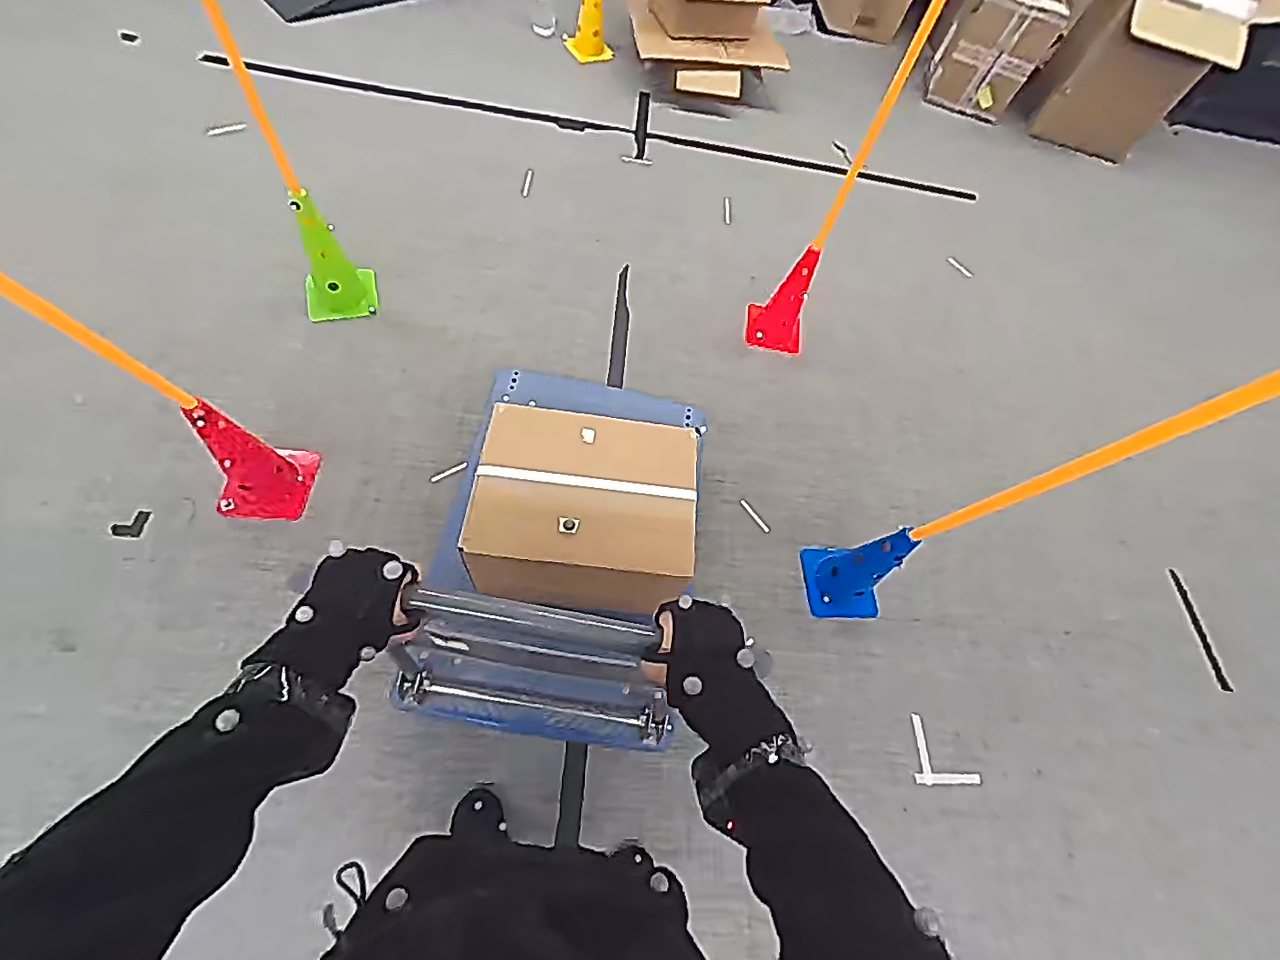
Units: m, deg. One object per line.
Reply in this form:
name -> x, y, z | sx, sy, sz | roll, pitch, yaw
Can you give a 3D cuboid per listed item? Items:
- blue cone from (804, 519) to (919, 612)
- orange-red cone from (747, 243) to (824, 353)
blue cone -> 0.590, 0.200, 1.379 | 0.193, 0.380, 0.192 | 3, 62, -9
orange-red cone -> 0.508, -0.619, 1.770 | 0.199, 0.360, 0.198 | 13, 62, -4
